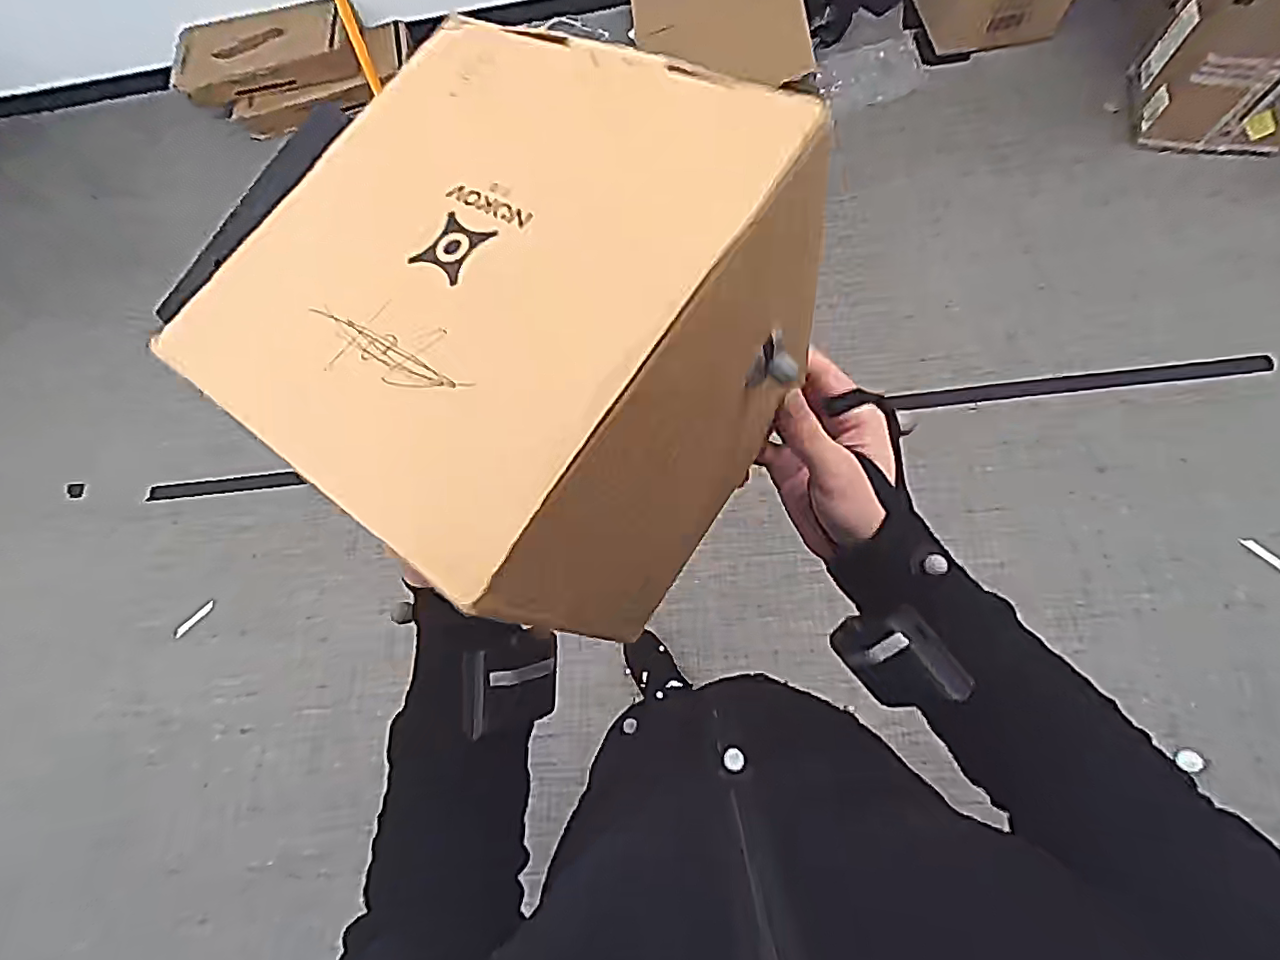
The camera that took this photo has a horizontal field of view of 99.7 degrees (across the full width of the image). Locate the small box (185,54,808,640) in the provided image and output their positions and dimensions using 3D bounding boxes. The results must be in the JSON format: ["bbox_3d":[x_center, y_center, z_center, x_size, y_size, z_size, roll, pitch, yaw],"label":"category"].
[{"bbox_3d":[-0.040,-0.044,0.257,0.168,0.176,0.179,29,81,22],"label":"small box"}]
